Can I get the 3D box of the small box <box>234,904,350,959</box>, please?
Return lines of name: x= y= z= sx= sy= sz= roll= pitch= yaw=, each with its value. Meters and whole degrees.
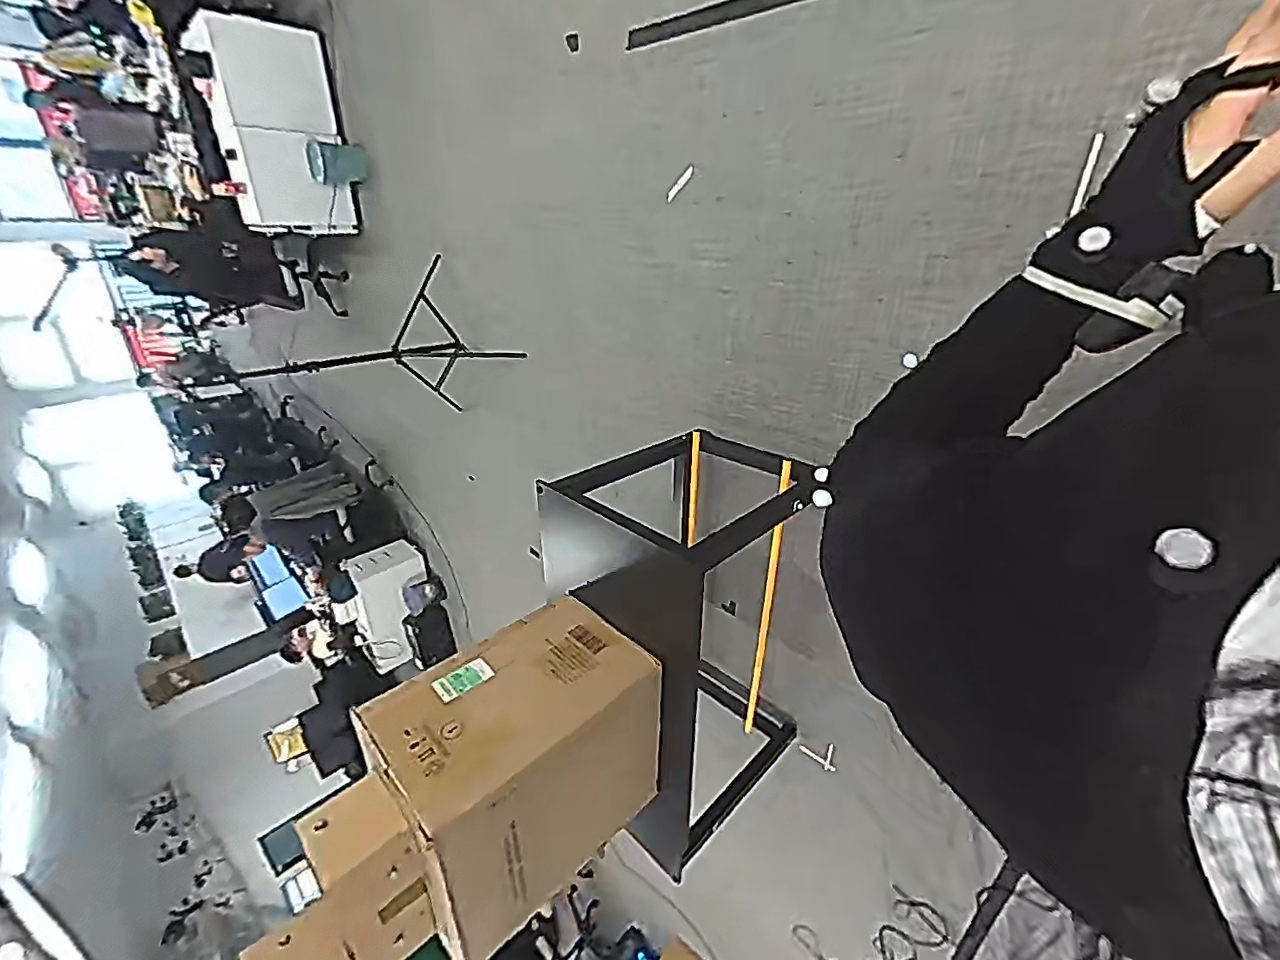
small box: x=-0.711 y=1.042 z=1.130 sx=0.179 sy=0.176 sz=0.168 roll=22 pitch=123 yaw=41

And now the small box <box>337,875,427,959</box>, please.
small box: x=-0.604 y=0.991 z=1.243 sx=0.179 sy=0.176 sz=0.168 roll=23 pitch=122 yaw=40

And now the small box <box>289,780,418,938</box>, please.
small box: x=-0.579 y=0.755 z=1.104 sx=0.179 sy=0.176 sz=0.168 roll=24 pitch=126 yaw=39
